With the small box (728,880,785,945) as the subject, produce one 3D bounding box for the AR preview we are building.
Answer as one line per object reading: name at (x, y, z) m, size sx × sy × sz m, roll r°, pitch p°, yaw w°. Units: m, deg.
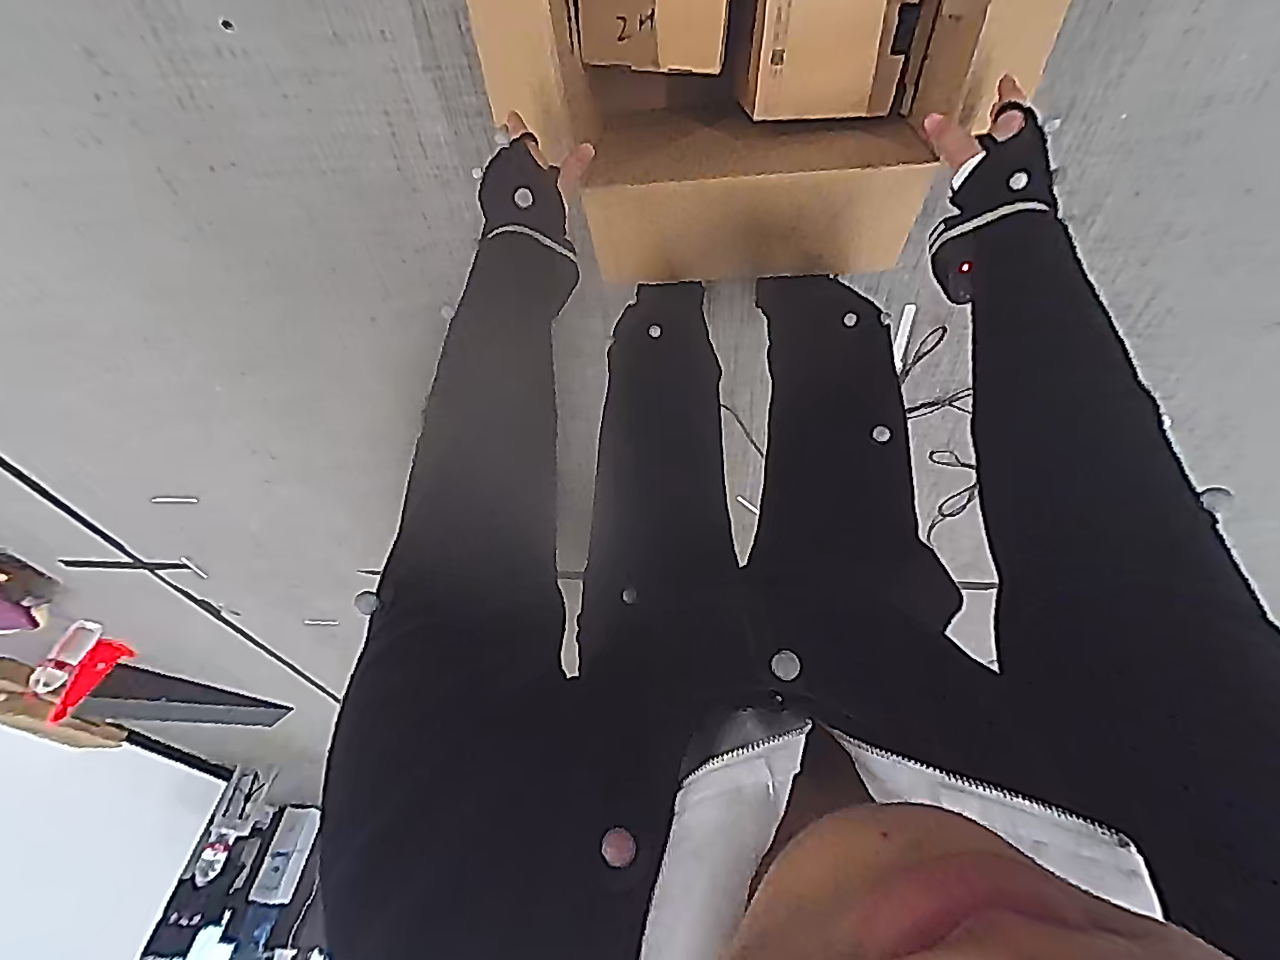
small box at (0.410, 1.542, 1.929) m, size 0.179 × 0.176 × 0.168 m, roll 0°, pitch 138°, yaw 6°
